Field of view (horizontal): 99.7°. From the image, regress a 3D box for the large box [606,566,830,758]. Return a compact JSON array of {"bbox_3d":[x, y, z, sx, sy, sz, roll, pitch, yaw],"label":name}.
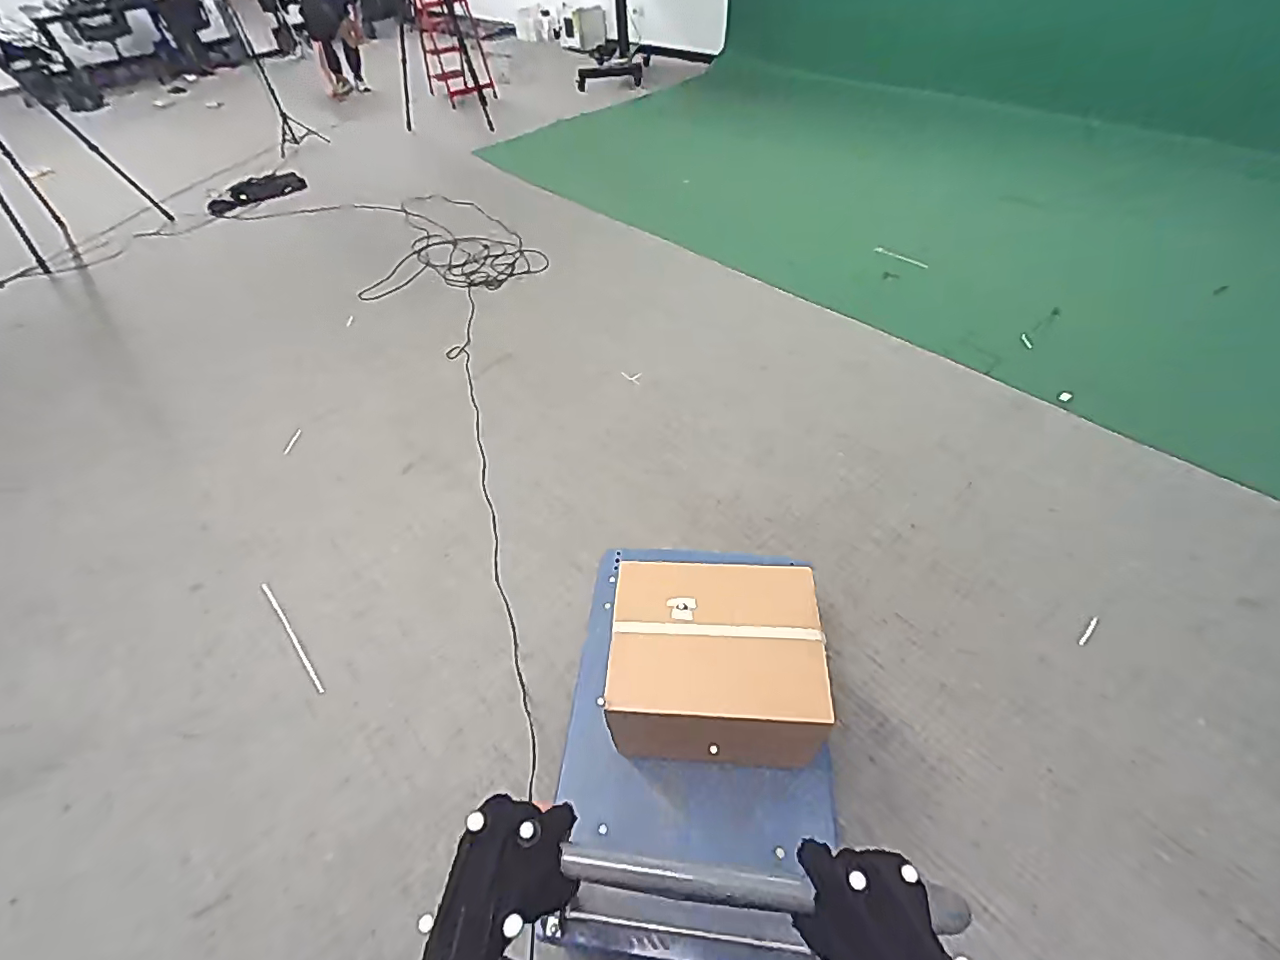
[{"bbox_3d":[0.157,0.397,1.171,0.408,0.320,0.320,0,49,6],"label":"large box"}]
